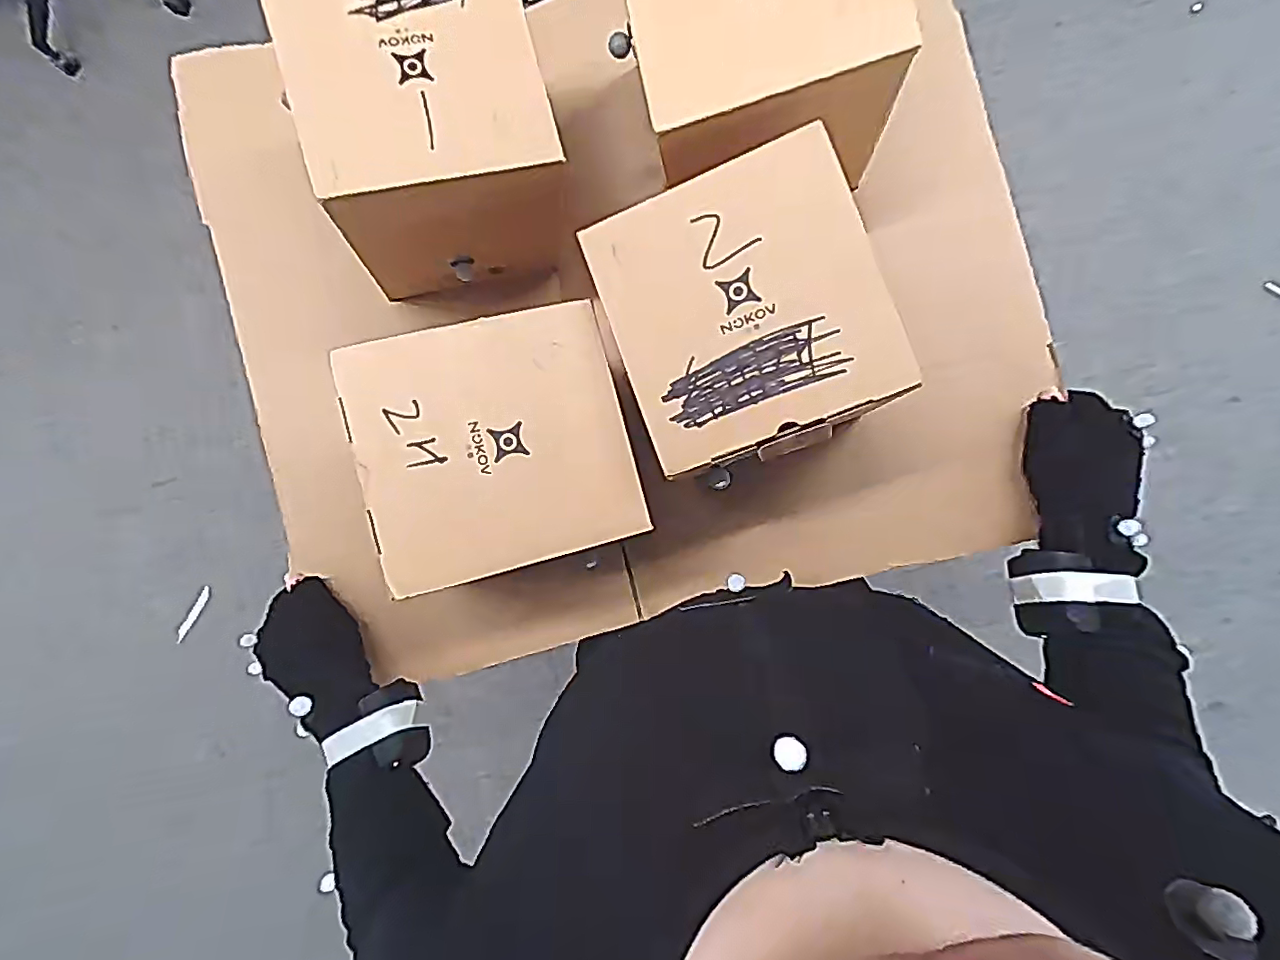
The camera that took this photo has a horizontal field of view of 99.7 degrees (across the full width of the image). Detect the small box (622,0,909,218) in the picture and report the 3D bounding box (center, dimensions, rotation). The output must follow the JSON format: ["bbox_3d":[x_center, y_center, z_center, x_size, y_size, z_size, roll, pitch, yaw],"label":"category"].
[{"bbox_3d":[0.081,-0.329,0.415,0.168,0.176,0.179,-12,88,10],"label":"small box"}]
